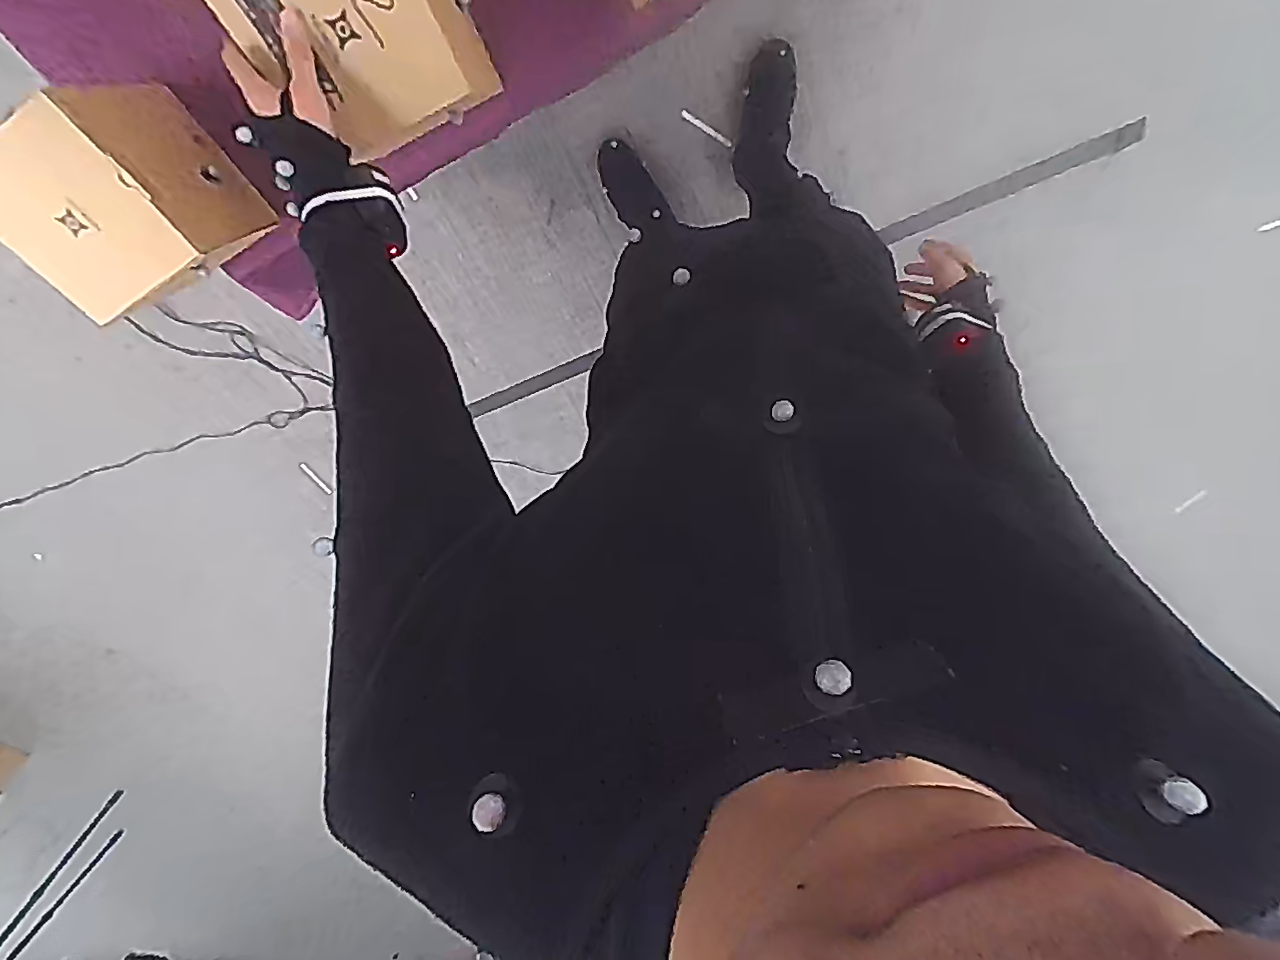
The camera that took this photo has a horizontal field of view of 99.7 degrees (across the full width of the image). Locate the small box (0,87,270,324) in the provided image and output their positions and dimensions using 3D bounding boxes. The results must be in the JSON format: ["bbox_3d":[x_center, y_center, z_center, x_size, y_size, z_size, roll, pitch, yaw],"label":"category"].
[{"bbox_3d":[-0.583,-0.314,0.622,0.179,0.176,0.168,-24,124,15],"label":"small box"}]
